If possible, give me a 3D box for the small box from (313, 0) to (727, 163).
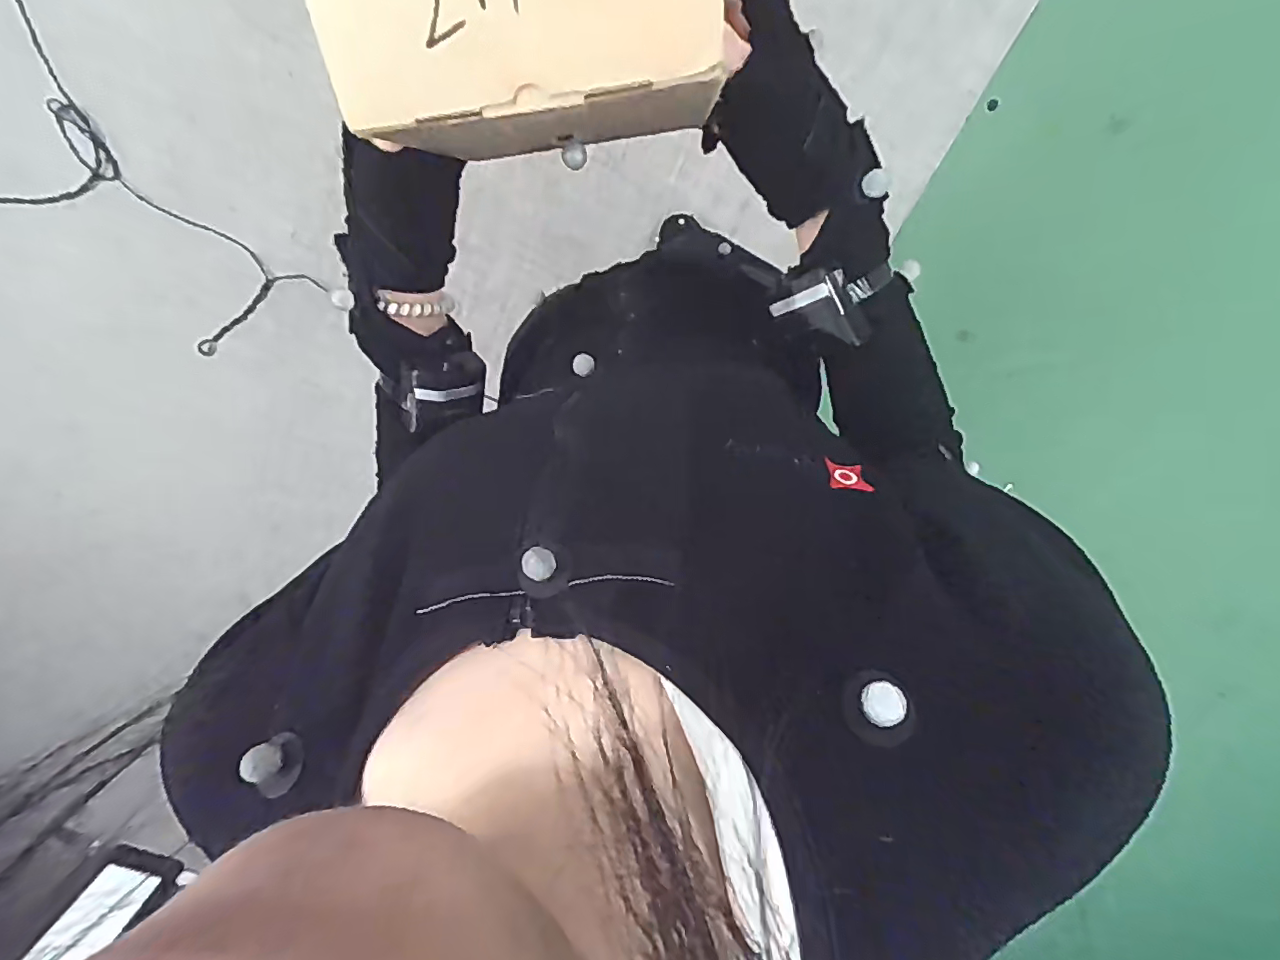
[{"bbox_3d":[-0.051,-0.271,0.264,0.168,0.176,0.179,-5,117,6],"label":"small box"}]
